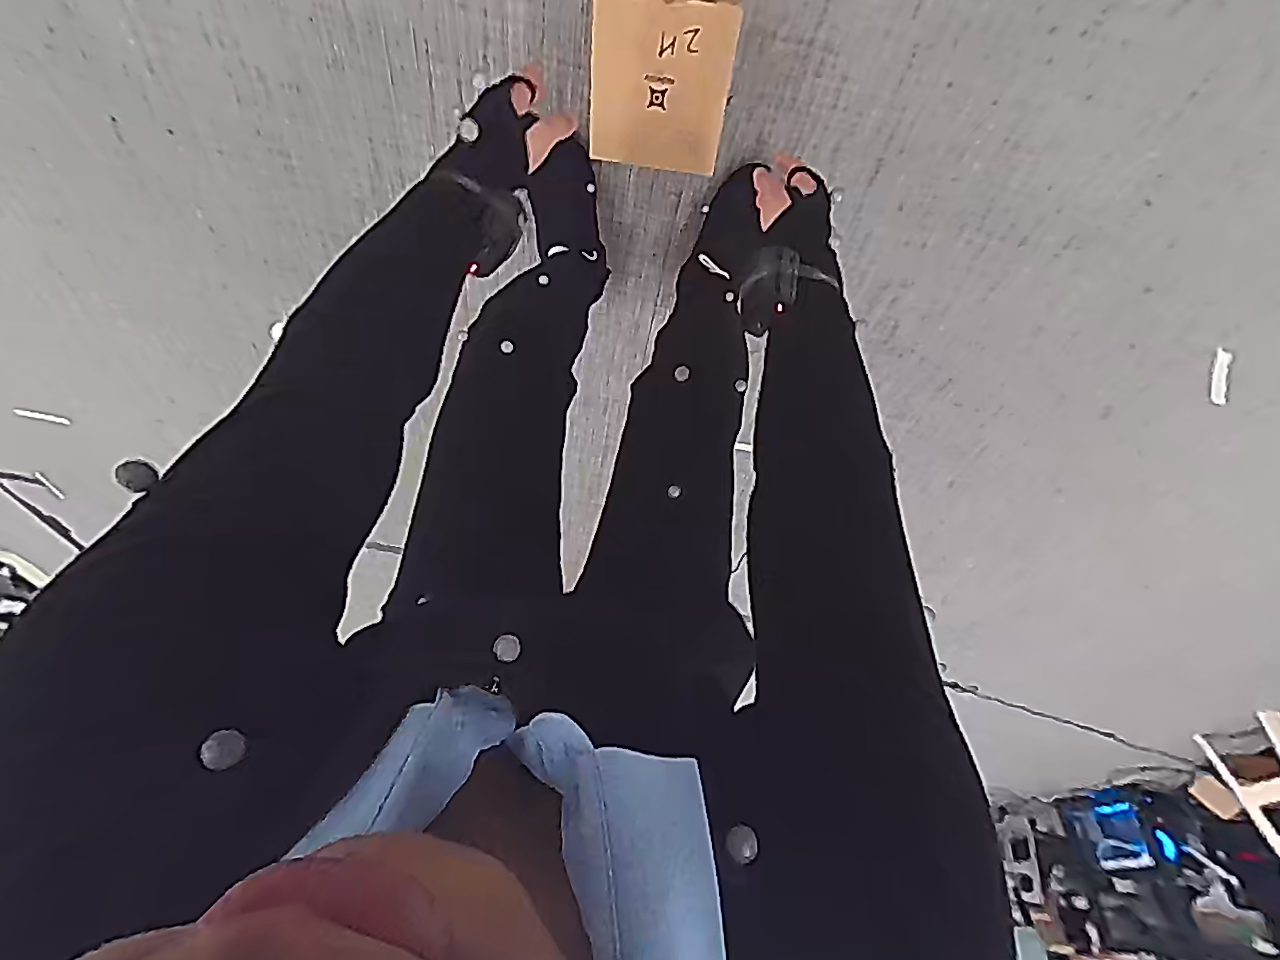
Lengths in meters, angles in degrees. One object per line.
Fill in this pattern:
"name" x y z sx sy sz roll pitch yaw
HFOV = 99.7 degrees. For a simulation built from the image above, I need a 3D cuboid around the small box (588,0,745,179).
"small box" 0.033 -0.517 0.684 0.168 0.176 0.179 9 140 -1
